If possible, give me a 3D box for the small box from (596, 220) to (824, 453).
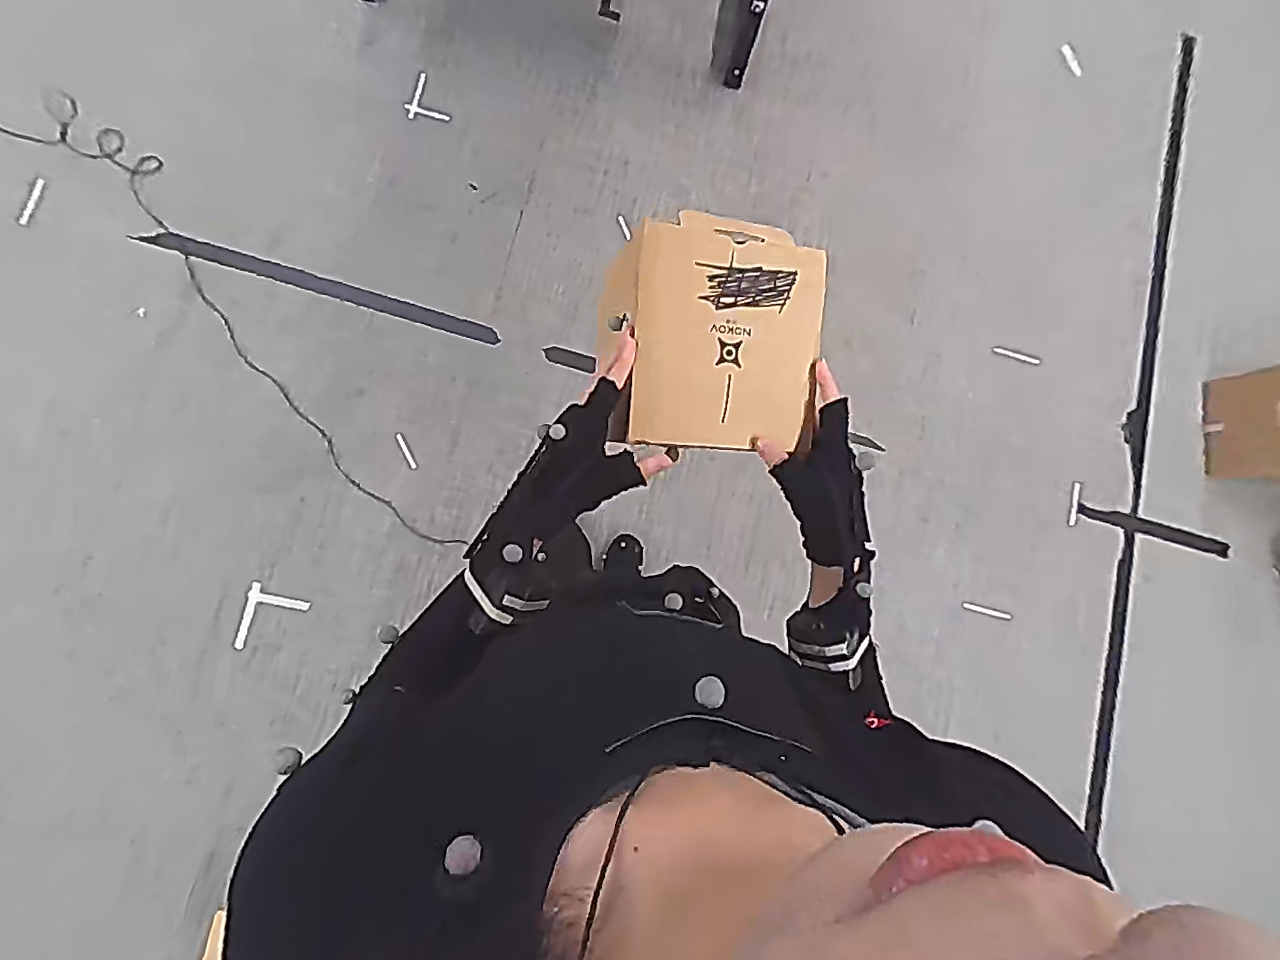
[{"bbox_3d":[0.054,-0.119,0.524,0.168,0.176,0.179,2,94,-15],"label":"small box"}]
